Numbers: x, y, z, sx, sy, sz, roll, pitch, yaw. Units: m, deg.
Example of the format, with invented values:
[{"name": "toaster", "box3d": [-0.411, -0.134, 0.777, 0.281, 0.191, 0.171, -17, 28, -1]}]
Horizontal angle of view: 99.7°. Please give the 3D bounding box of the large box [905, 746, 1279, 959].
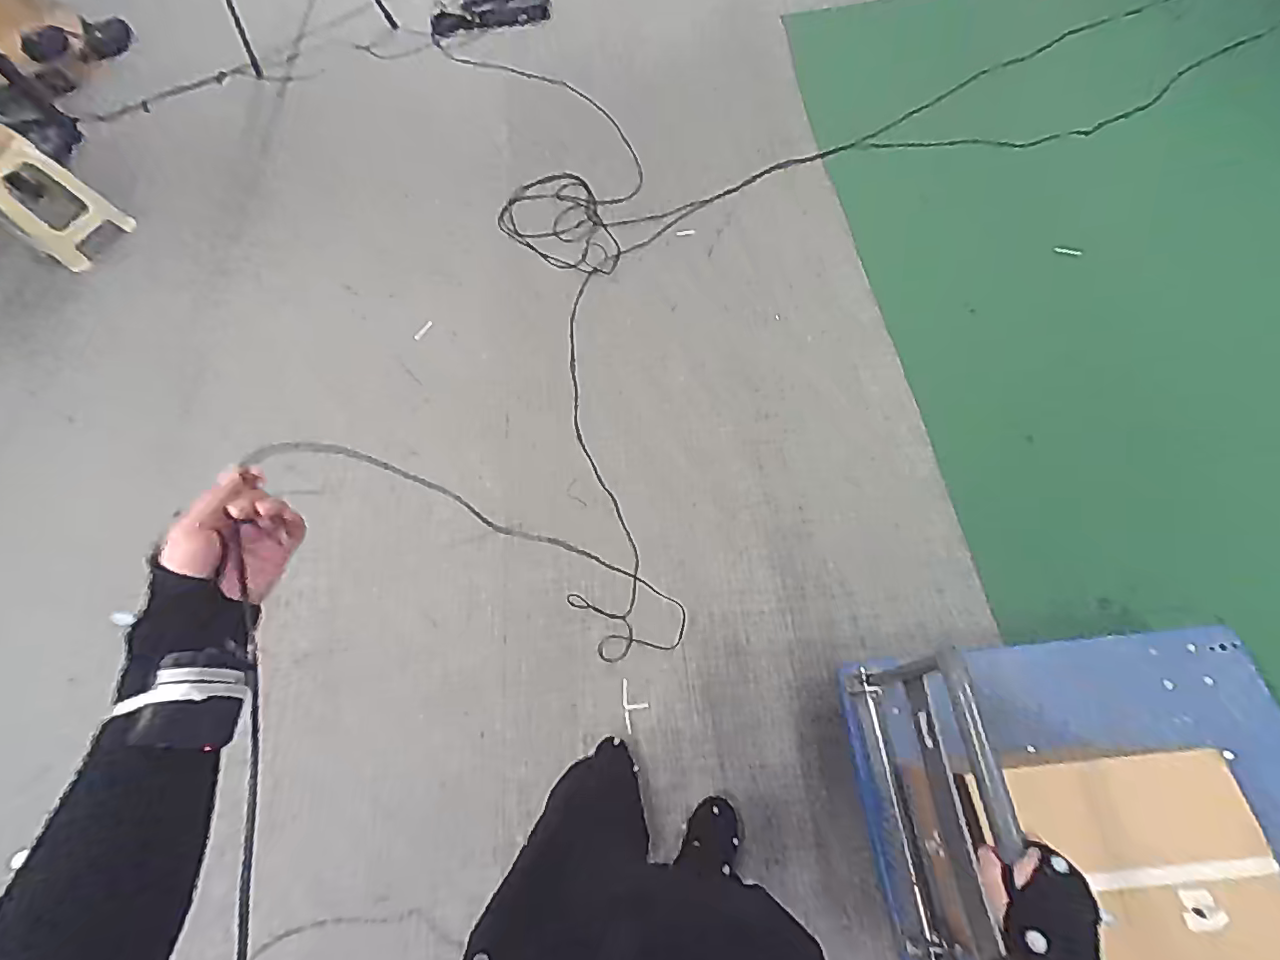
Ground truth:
[{"name": "large box", "box3d": [0.766, 0.667, 0.963, 0.408, 0.320, 0.320, -8, 65, 3]}]
